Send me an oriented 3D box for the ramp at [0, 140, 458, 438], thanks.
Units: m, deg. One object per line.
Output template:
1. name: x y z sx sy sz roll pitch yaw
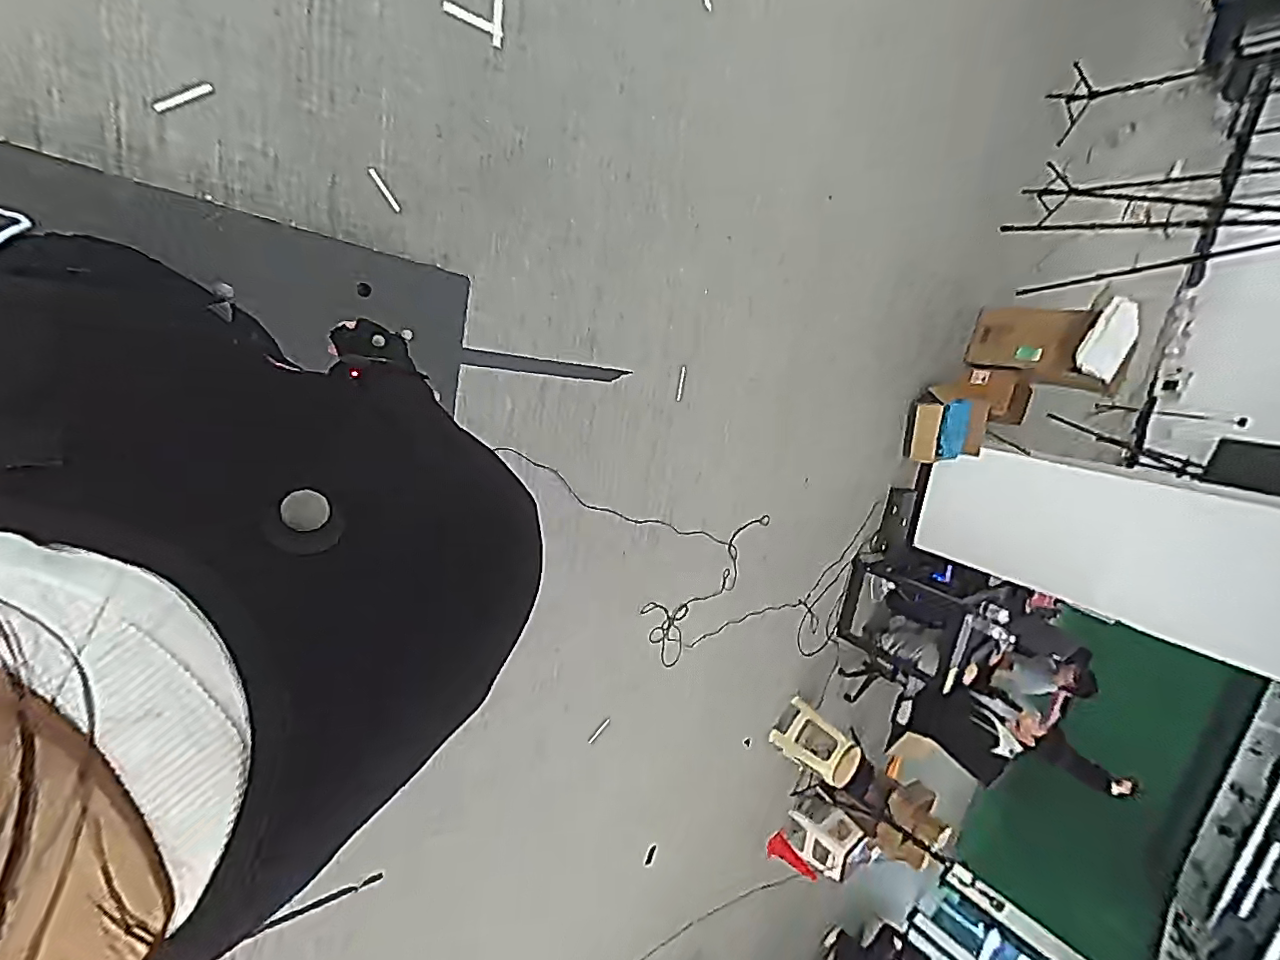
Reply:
1. ramp: -0.874 -0.341 1.213 0.991 0.206 0.509 -2 106 -42
